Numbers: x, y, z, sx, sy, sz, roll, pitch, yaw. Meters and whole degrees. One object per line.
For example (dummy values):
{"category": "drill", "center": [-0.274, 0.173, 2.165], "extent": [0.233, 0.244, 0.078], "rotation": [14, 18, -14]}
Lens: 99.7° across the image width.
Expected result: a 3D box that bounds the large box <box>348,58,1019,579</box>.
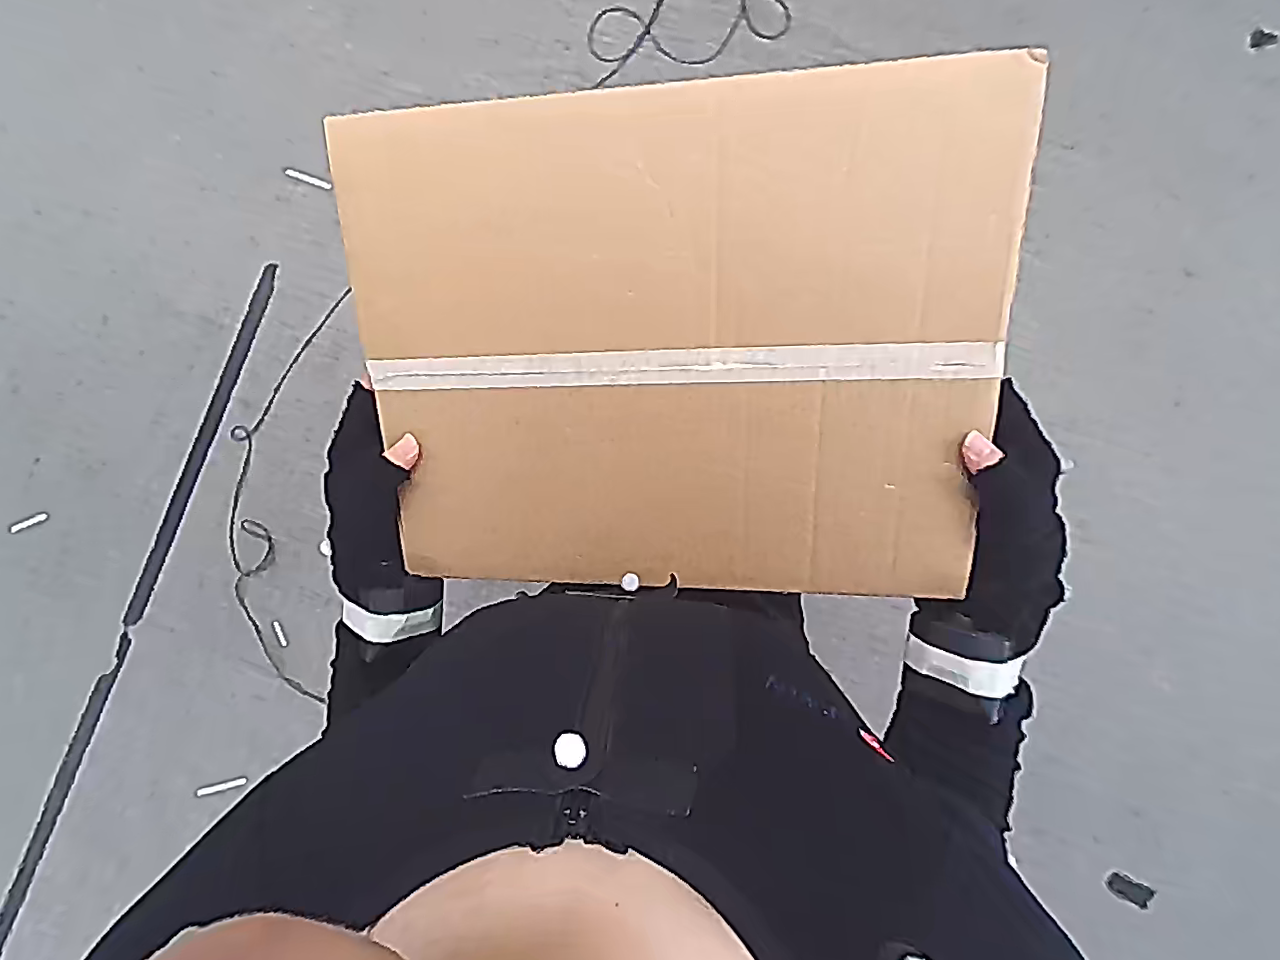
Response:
{"category": "large box", "center": [0.033, -0.119, 0.499], "extent": [0.408, 0.320, 0.320], "rotation": [0, 108, 9]}
